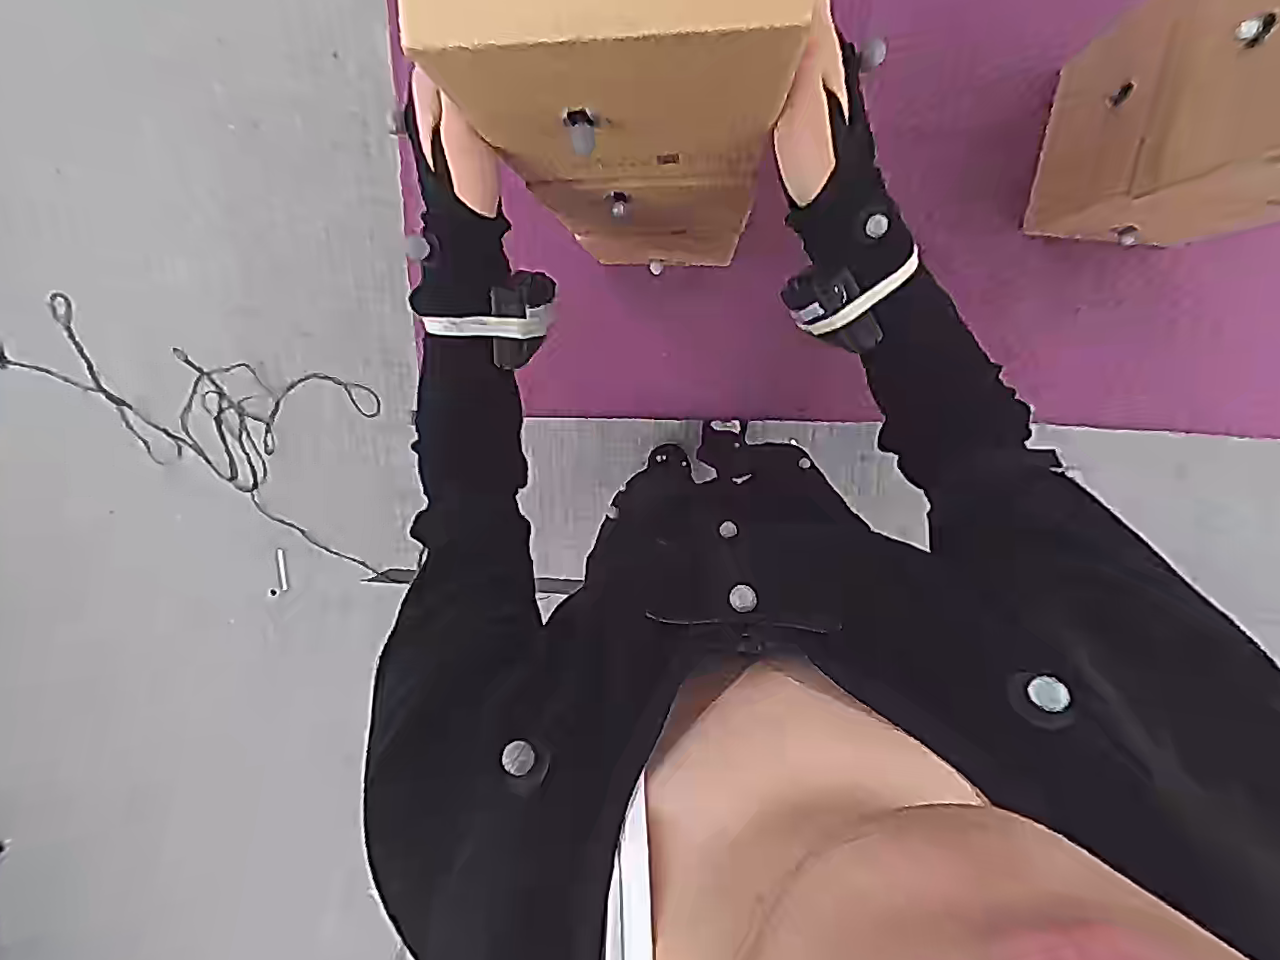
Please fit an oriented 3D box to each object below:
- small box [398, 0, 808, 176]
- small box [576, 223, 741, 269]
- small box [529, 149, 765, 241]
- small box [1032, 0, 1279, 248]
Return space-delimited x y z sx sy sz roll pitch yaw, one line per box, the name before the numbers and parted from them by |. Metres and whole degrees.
small box | -0.008 -0.270 0.273 0.168 0.176 0.179 1 102 6
small box | 0.029 -0.338 0.592 0.168 0.176 0.179 4 105 6
small box | 0.013 -0.303 0.434 0.168 0.176 0.179 2 104 6
small box | 0.533 -0.344 0.533 0.168 0.176 0.179 8 104 6
